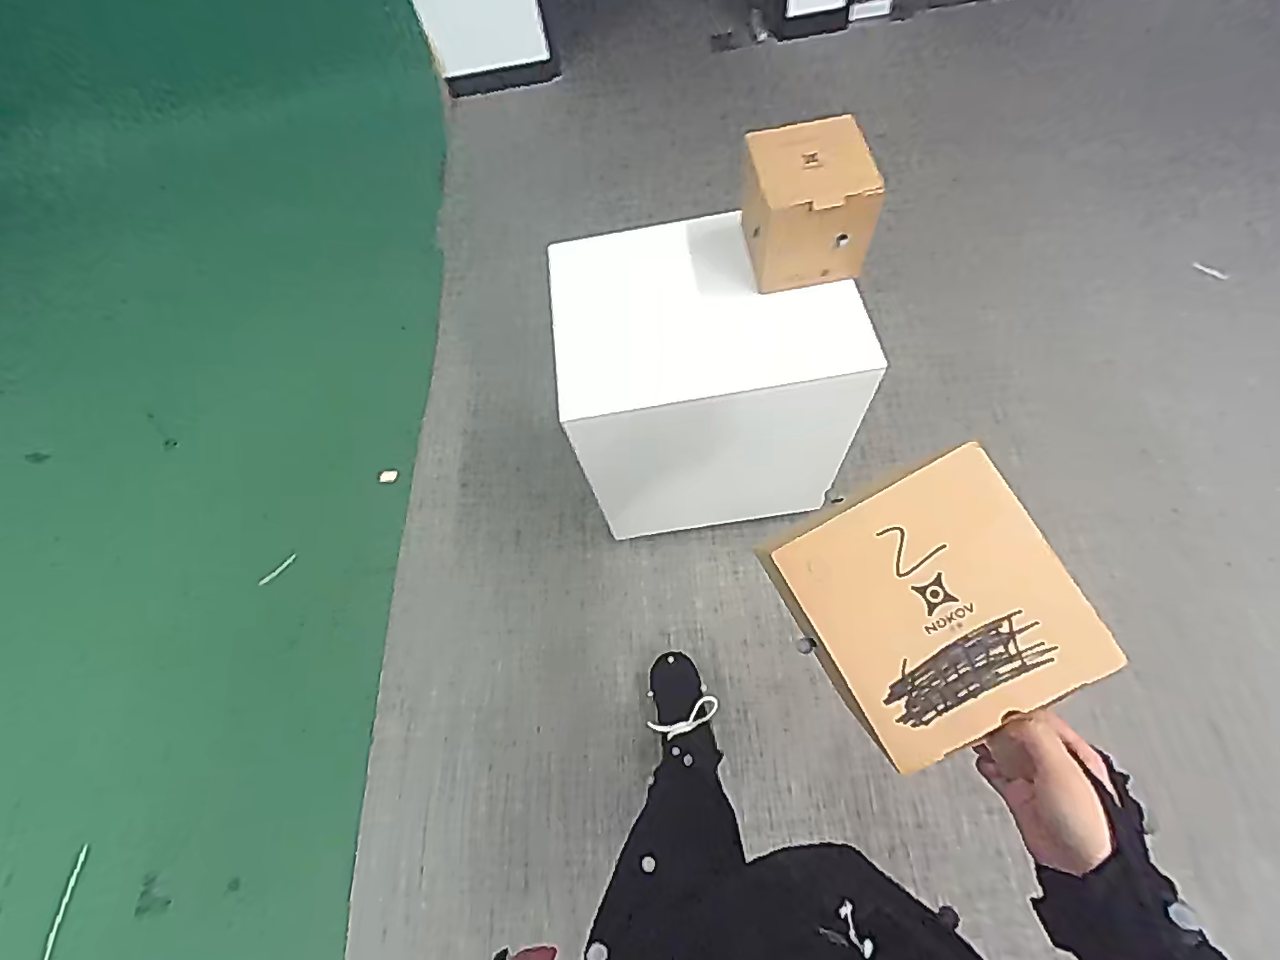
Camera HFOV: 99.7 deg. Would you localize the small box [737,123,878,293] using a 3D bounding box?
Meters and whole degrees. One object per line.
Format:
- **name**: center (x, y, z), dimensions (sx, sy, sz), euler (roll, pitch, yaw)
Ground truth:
- **small box**: center (0.253, -0.421, 0.863), dimensions (0.168, 0.176, 0.179), euler (-9, 63, 2)
